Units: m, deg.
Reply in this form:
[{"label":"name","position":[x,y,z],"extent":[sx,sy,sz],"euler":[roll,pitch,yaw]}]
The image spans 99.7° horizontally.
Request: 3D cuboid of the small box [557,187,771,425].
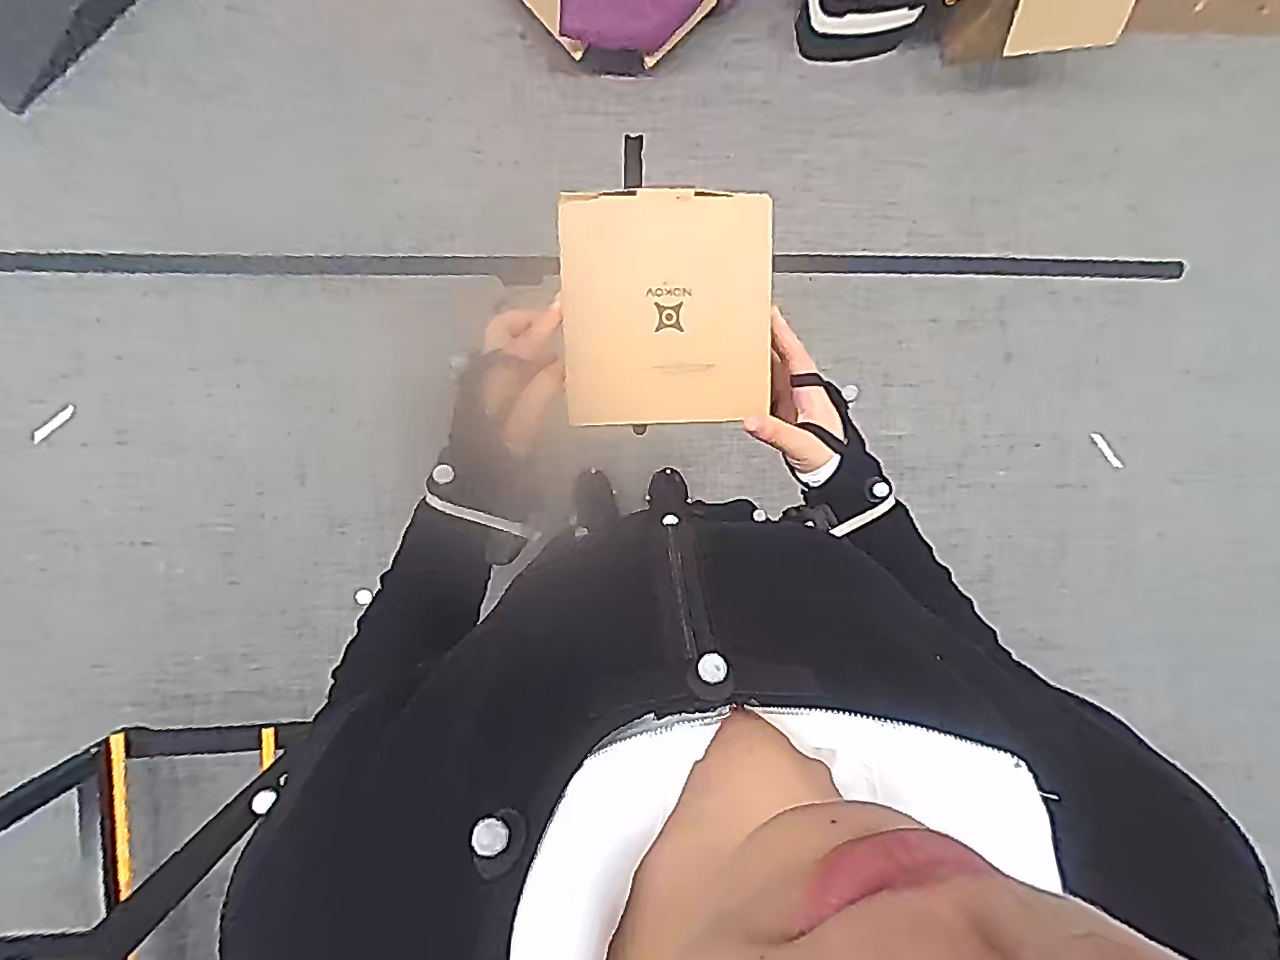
[{"label":"small box","position":[0.011,-0.141,0.492],"extent":[0.168,0.176,0.179],"euler":[-2,99,-6]}]
